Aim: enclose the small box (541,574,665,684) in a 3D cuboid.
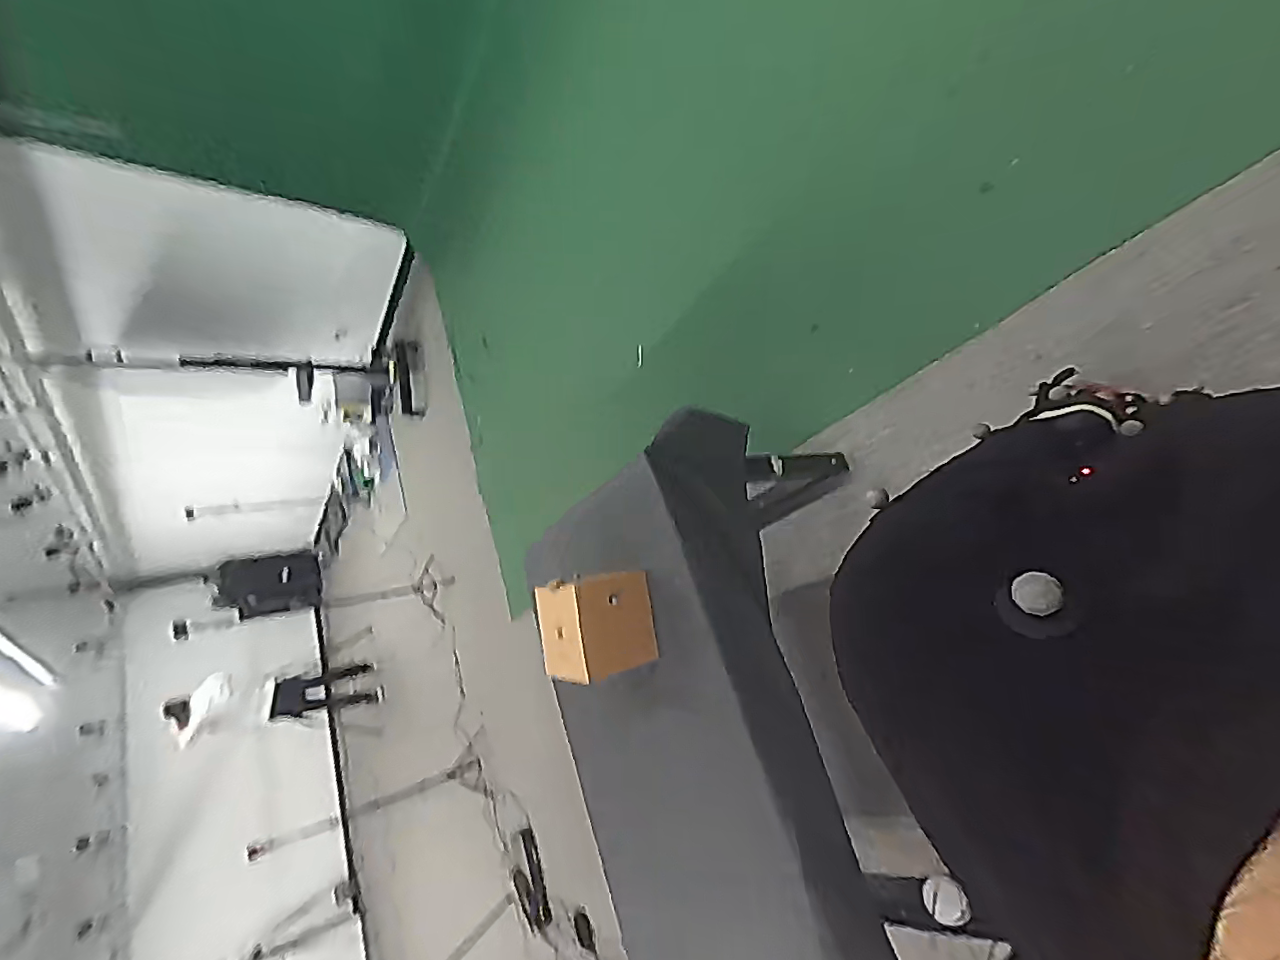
[{"bbox_3d":[-0.073,0.287,1.074,0.168,0.176,0.179,-20,79,52],"label":"small box"}]
